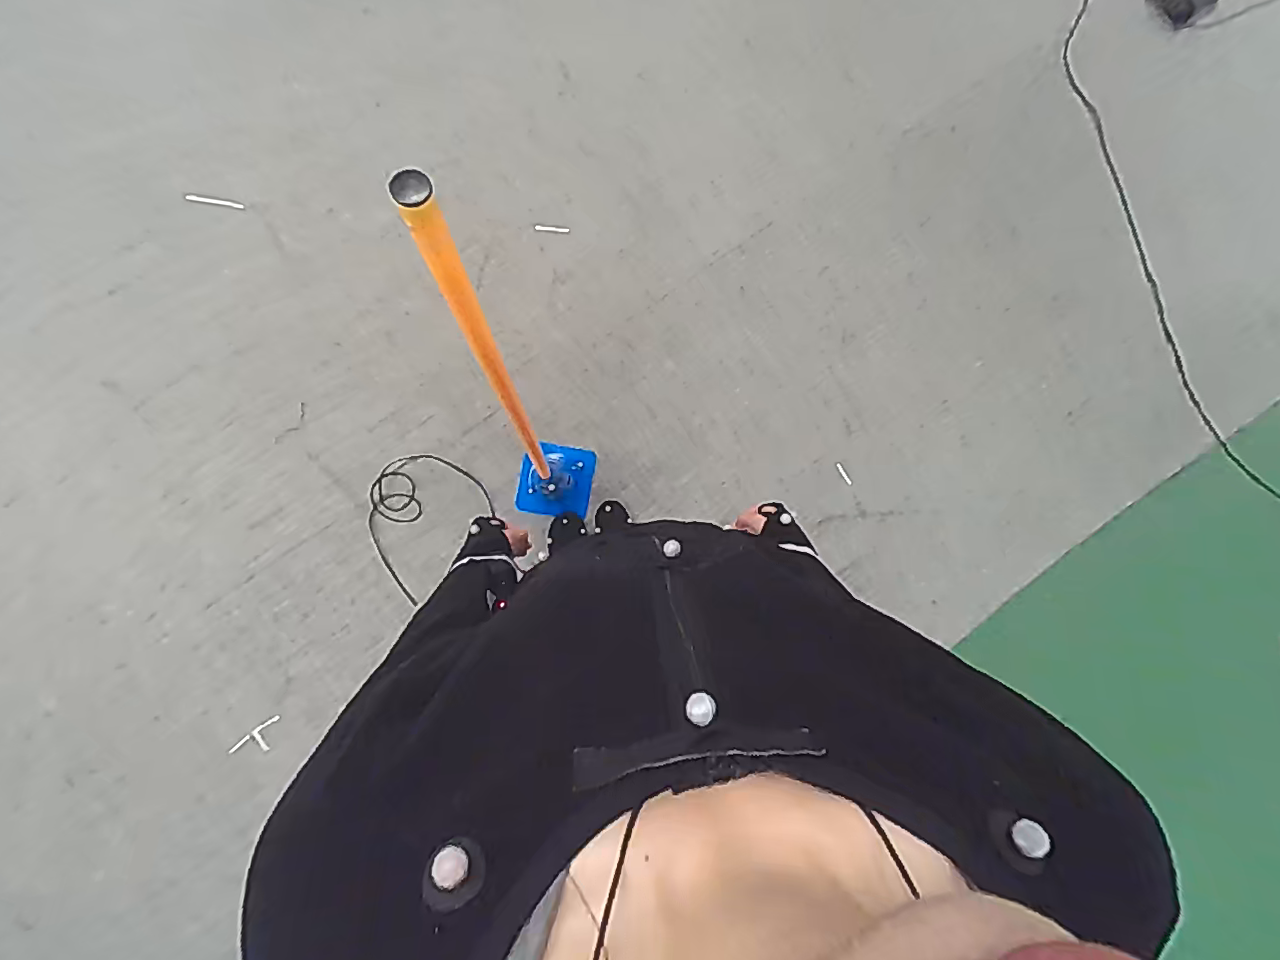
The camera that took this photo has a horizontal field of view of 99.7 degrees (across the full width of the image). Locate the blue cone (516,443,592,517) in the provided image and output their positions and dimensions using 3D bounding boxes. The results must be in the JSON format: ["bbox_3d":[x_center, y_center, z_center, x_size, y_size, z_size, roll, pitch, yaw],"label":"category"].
[{"bbox_3d":[-0.218,-0.011,1.308,0.192,0.380,0.193,9,86,-5],"label":"blue cone"}]
